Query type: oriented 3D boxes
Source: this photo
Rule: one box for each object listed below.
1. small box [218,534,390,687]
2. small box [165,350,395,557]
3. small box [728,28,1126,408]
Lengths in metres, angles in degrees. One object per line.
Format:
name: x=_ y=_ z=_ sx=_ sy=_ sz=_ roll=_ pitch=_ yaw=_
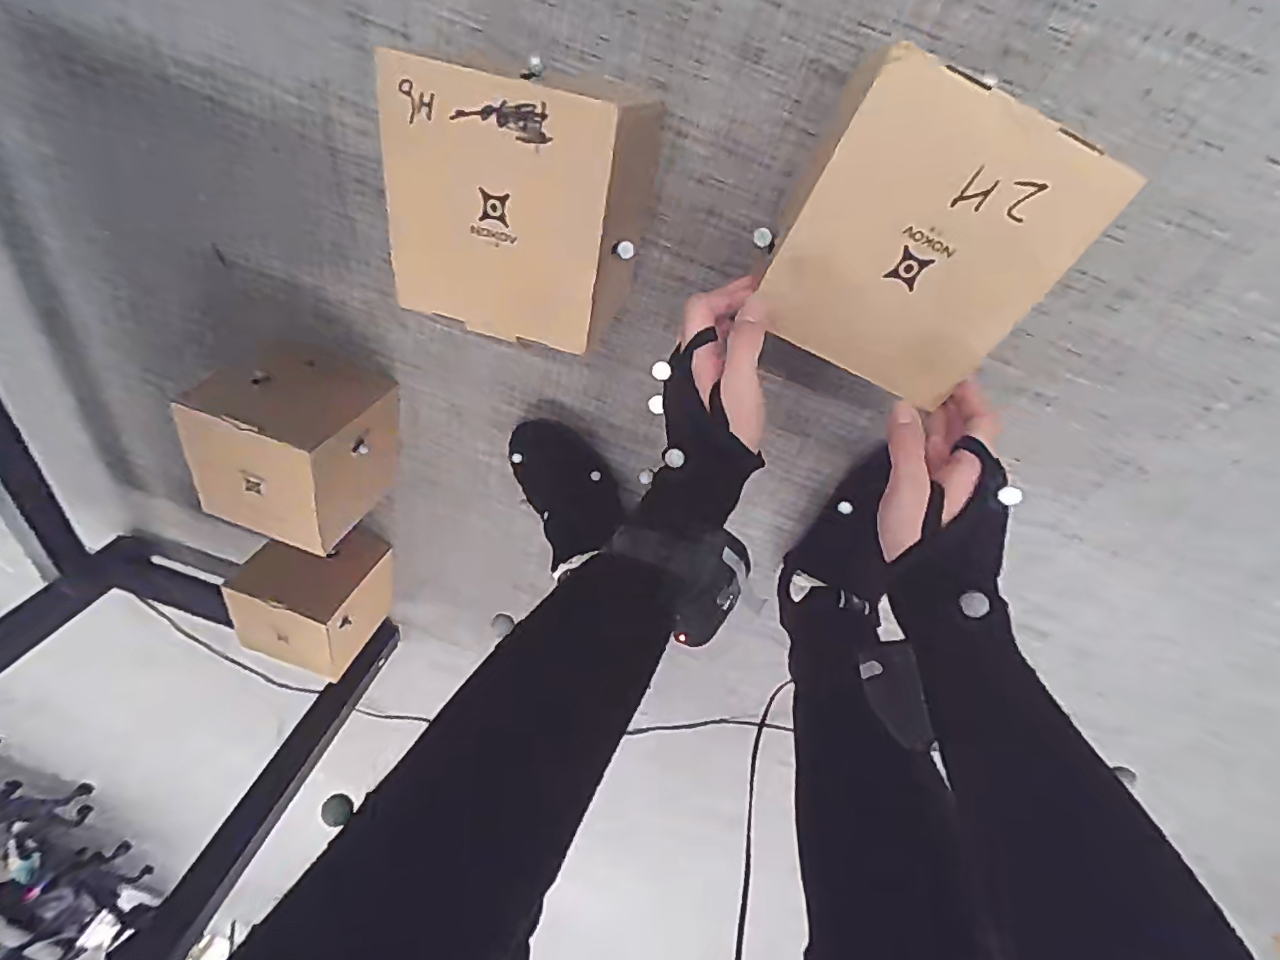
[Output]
small box: x=-0.532 y=0.198 z=0.887 sx=0.168 sy=0.176 sz=0.179 roll=19 pitch=127 yaw=1
small box: x=-0.434 y=-0.040 z=0.688 sx=0.168 sy=0.176 sz=0.179 roll=21 pitch=128 yaw=1
small box: x=0.186 y=-0.193 z=0.409 sx=0.168 sy=0.176 sz=0.179 roll=25 pitch=127 yaw=-5
